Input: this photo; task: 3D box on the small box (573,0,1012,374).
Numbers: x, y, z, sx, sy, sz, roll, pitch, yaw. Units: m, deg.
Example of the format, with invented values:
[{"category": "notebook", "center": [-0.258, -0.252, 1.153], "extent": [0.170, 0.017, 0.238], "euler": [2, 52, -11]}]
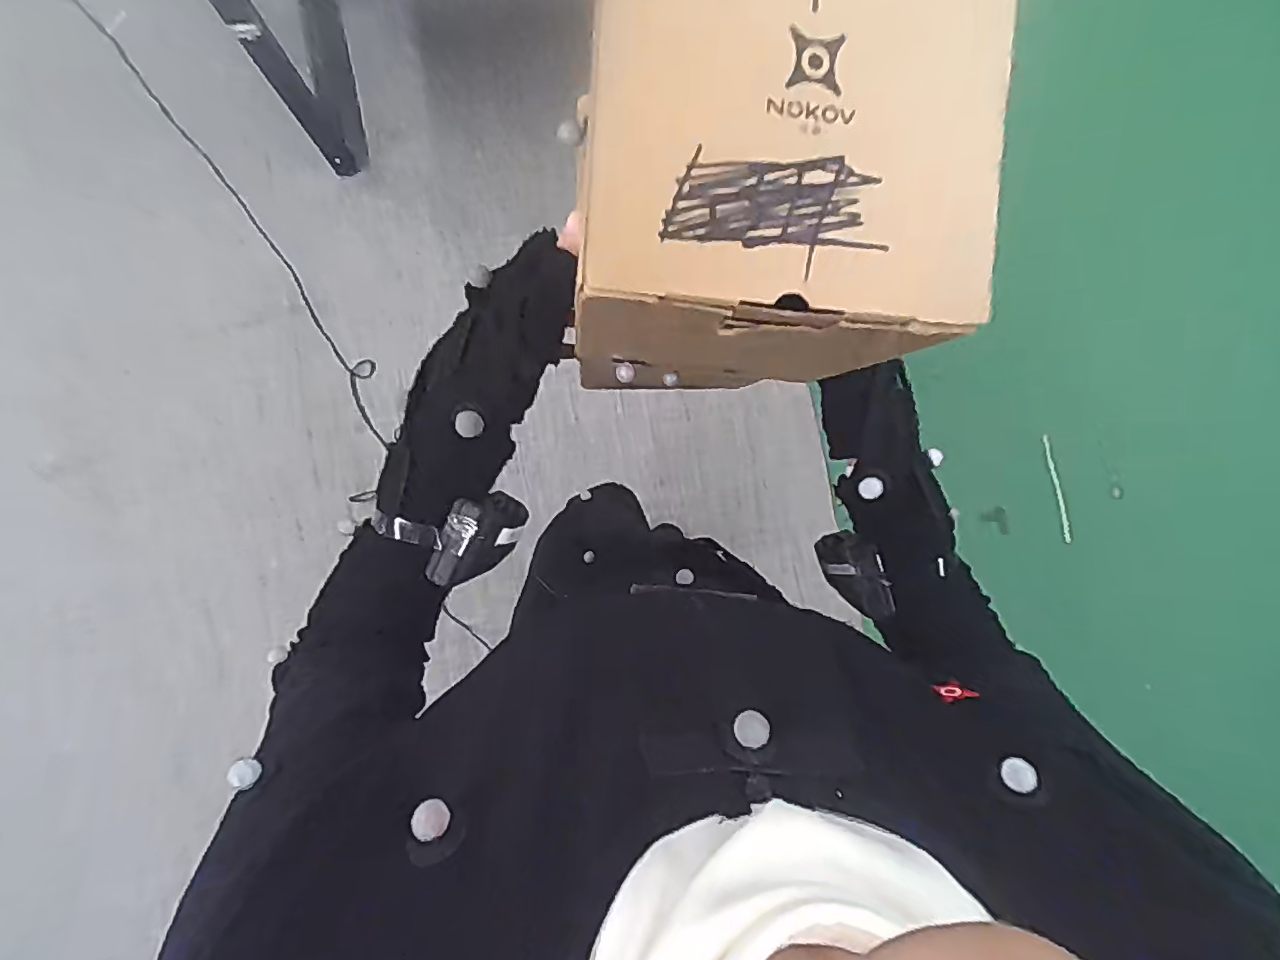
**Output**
[{"category": "small box", "center": [0.055, -0.158, 0.289], "extent": [0.168, 0.176, 0.179], "euler": [4, 92, -6]}]

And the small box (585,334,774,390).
[{"category": "small box", "center": [0.037, -0.175, 0.452], "extent": [0.168, 0.176, 0.179], "euler": [-1, 92, -6]}]
